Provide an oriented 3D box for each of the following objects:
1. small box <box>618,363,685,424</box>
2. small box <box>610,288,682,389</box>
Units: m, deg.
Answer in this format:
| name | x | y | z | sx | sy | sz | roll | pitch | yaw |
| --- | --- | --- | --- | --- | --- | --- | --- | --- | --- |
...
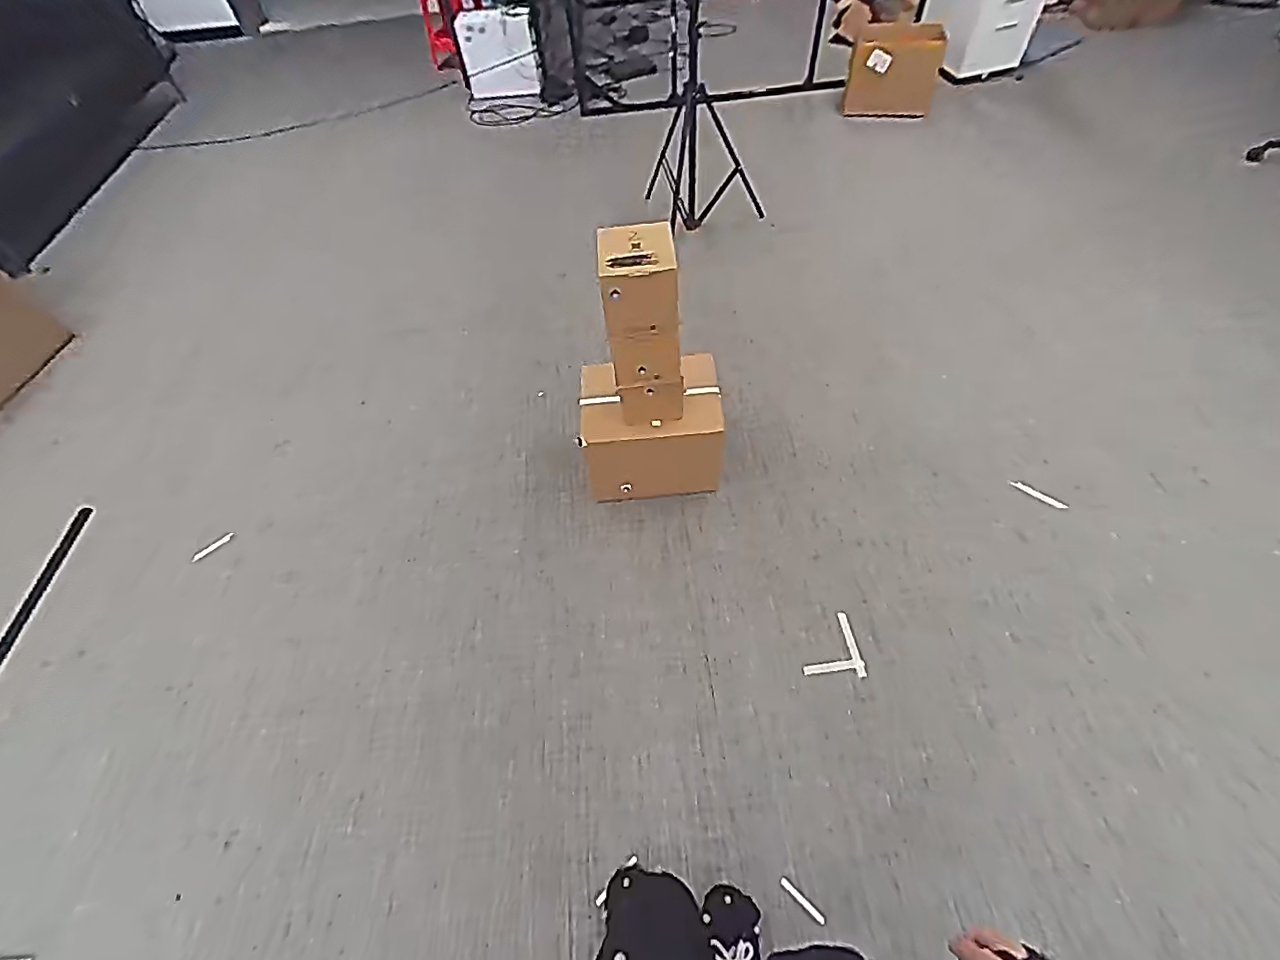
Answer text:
| name | x | y | z | sx | sy | sz | roll | pitch | yaw |
| --- | --- | --- | --- | --- | --- | --- | --- | --- | --- |
| small box | 0.031 | -0.272 | 1.502 | 0.179 | 0.176 | 0.168 | -7 | 57 | 0 |
| small box | 0.015 | -0.355 | 1.364 | 0.168 | 0.176 | 0.179 | -6 | 57 | 1 |
